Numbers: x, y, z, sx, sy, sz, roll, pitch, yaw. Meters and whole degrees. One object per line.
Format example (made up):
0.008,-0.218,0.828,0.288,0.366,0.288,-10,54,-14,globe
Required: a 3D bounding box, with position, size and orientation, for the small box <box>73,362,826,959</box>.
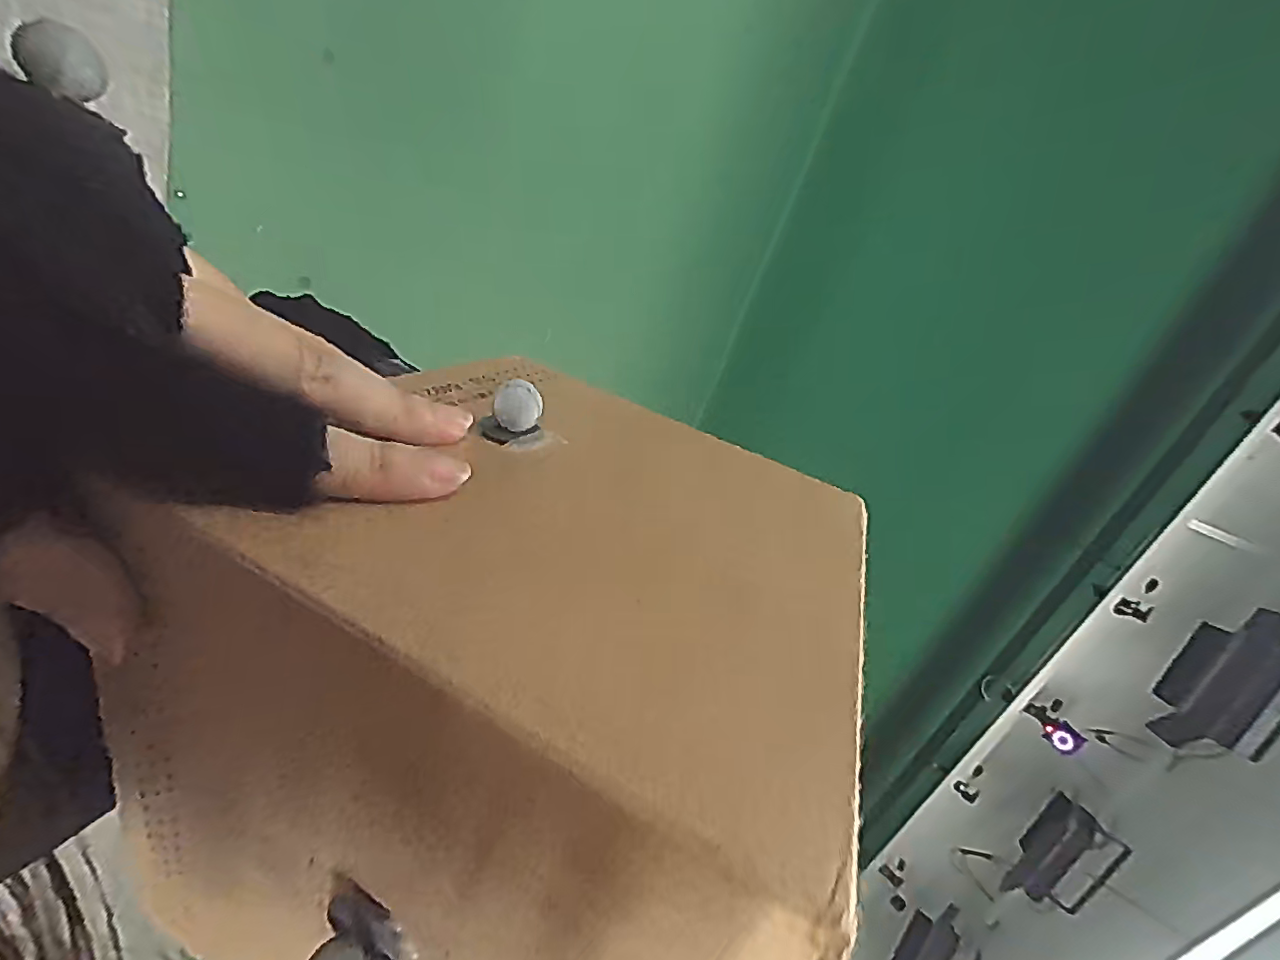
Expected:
-0.051,0.073,0.204,0.168,0.176,0.179,-40,151,-62,small box
